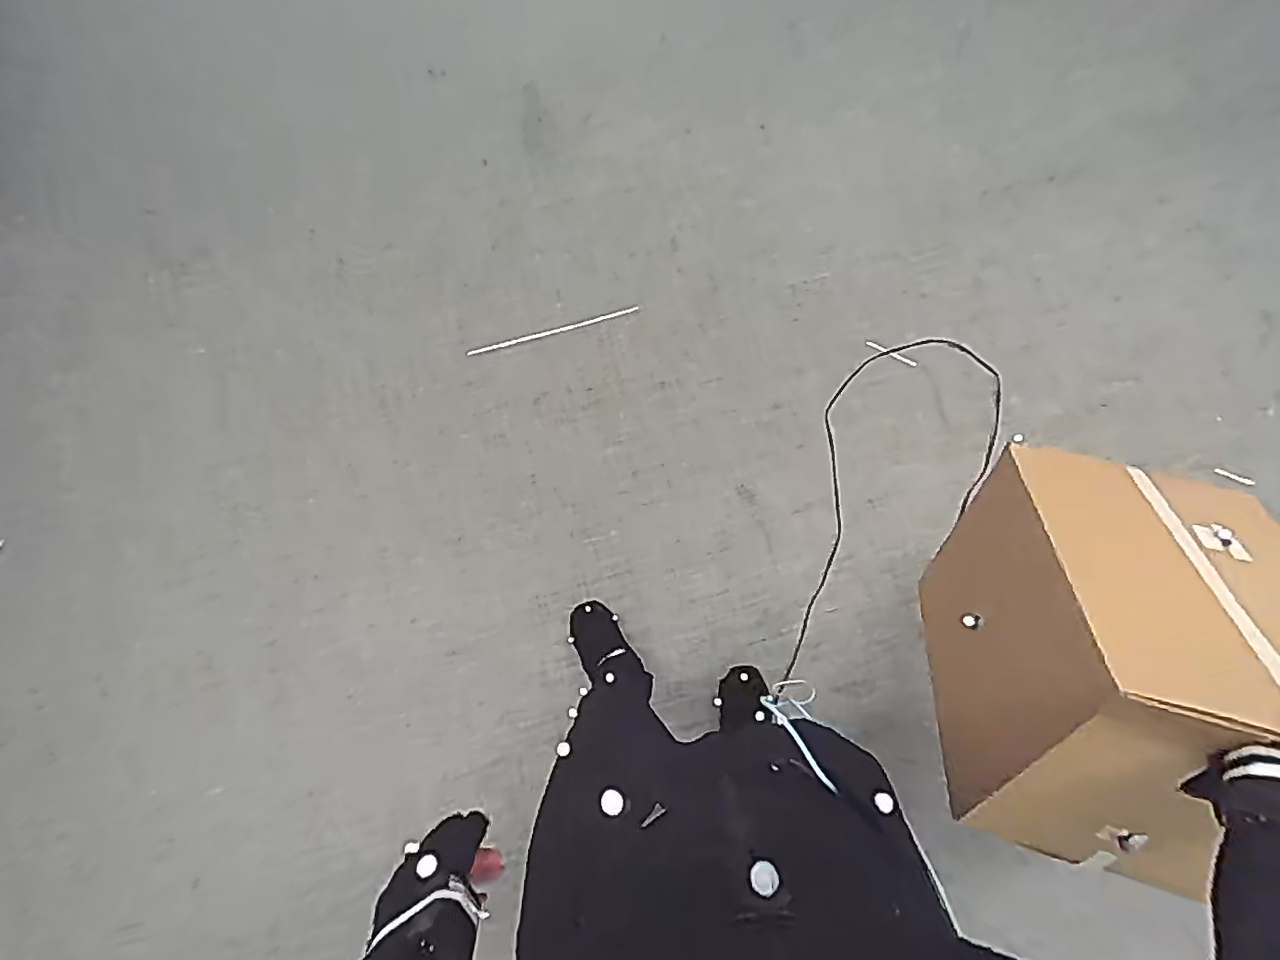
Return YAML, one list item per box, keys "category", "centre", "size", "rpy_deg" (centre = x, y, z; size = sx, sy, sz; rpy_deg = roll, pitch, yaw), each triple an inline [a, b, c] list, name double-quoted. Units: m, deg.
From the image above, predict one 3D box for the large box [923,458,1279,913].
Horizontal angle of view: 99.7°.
- category: "large box"
  centre: [0.606, 0.234, 0.694]
  size: [0.320, 0.320, 0.408]
  rpy_deg: [14, 39, 8]
